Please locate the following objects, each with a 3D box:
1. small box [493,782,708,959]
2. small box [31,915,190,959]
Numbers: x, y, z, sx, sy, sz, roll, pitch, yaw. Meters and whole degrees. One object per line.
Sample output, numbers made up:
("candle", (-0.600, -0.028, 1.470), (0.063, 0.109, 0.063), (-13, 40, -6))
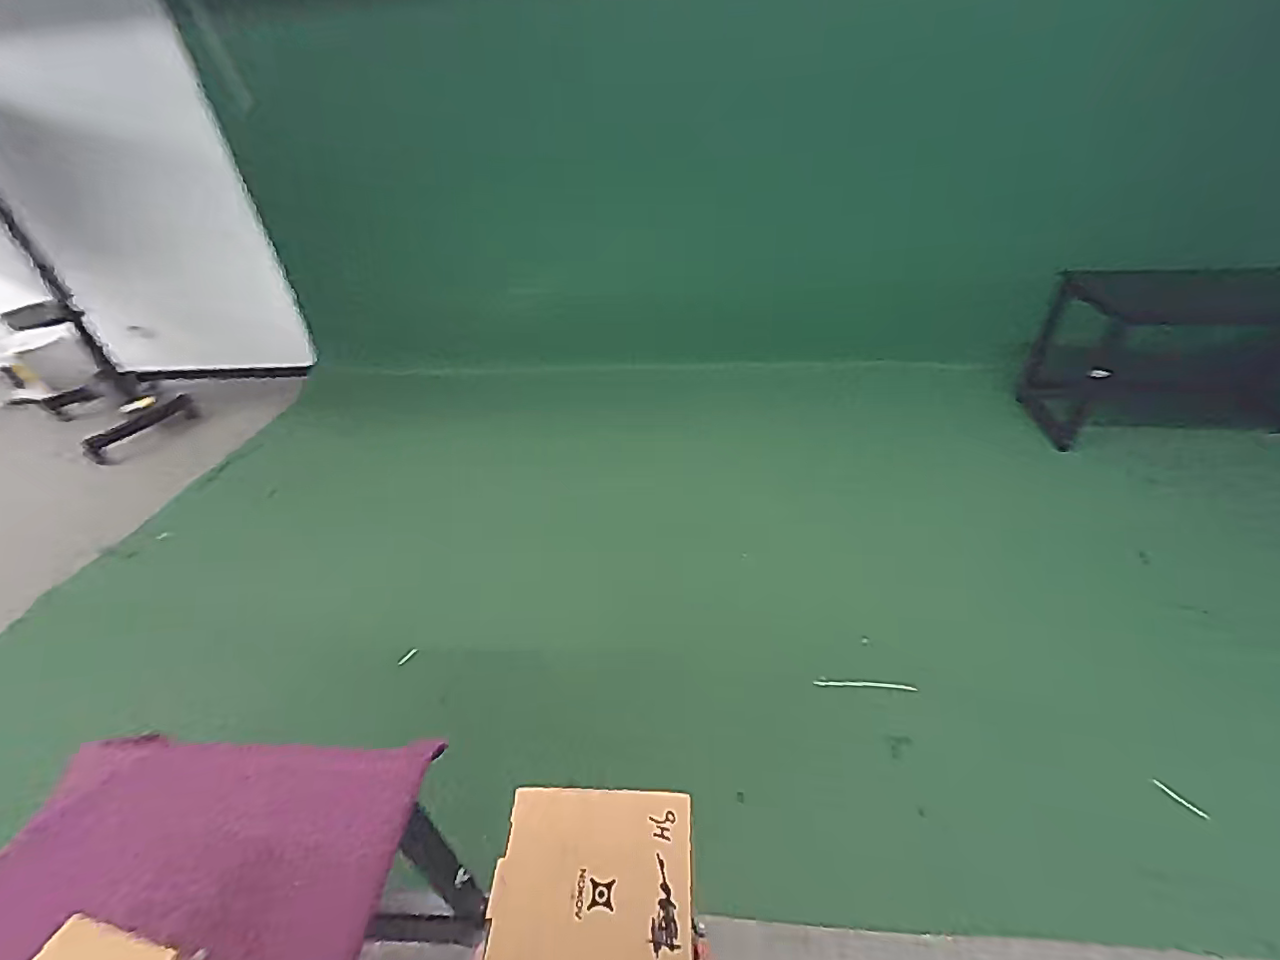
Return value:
("small box", (-0.023, 0.416, 0.528), (0.179, 0.176, 0.168), (0, 44, 7))
("small box", (-0.621, 0.646, 0.615), (0.168, 0.176, 0.179), (6, 38, 13))
